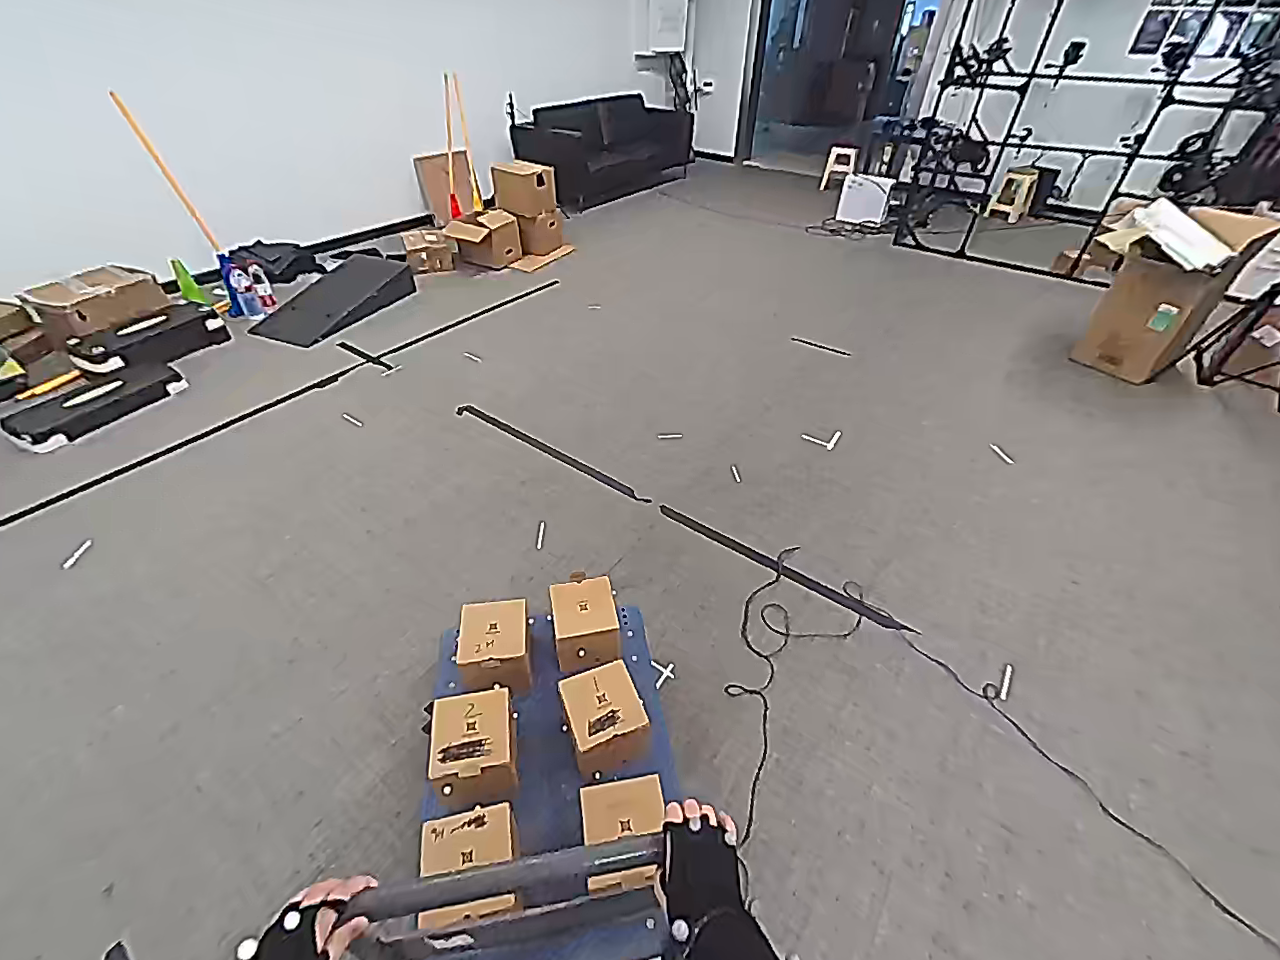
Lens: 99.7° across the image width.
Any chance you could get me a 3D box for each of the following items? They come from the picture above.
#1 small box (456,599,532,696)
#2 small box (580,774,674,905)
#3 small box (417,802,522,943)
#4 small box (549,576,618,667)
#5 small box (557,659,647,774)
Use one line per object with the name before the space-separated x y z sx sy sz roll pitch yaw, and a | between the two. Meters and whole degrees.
small box | -0.377 0.439 1.424 0.168 0.176 0.179 -4 42 -8
small box | -0.031 0.735 1.100 0.168 0.176 0.179 -5 40 -9
small box | -0.323 0.765 1.049 0.168 0.176 0.179 -7 42 -12
small box | -0.155 0.396 1.490 0.168 0.176 0.179 -7 41 -11
small box | -0.089 0.569 1.289 0.168 0.176 0.179 -14 42 -18
